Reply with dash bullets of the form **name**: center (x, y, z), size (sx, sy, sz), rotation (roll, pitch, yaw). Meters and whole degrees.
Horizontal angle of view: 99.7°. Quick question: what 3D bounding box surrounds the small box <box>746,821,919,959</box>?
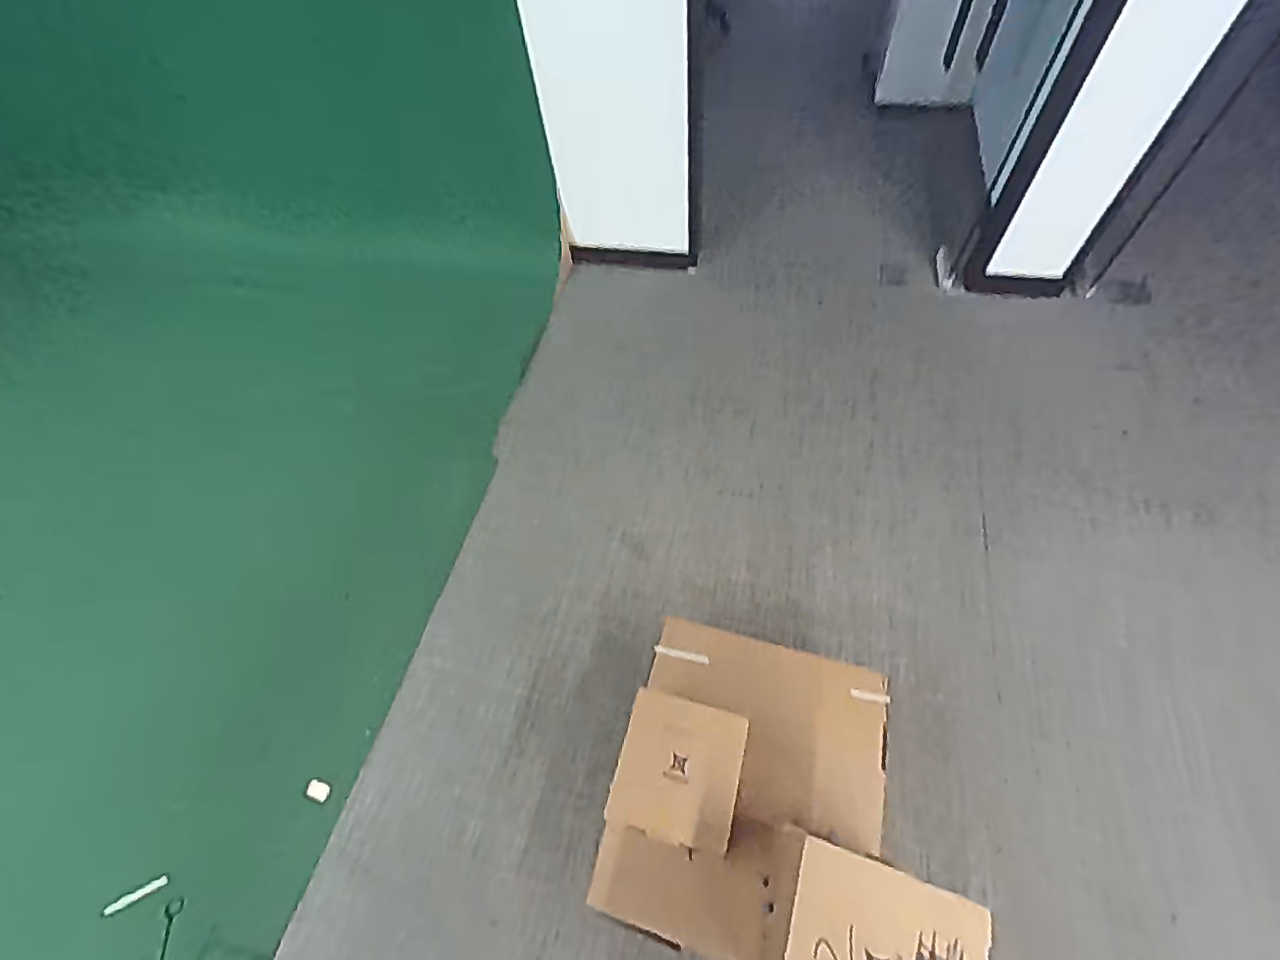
- **small box**: center (0.239, 0.570, 0.695), size (0.168, 0.176, 0.179), rotation (14, 58, 14)

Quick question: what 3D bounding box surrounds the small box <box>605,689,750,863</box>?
- **small box**: center (0.062, 0.440, 0.804), size (0.168, 0.176, 0.179), rotation (12, 57, 13)
